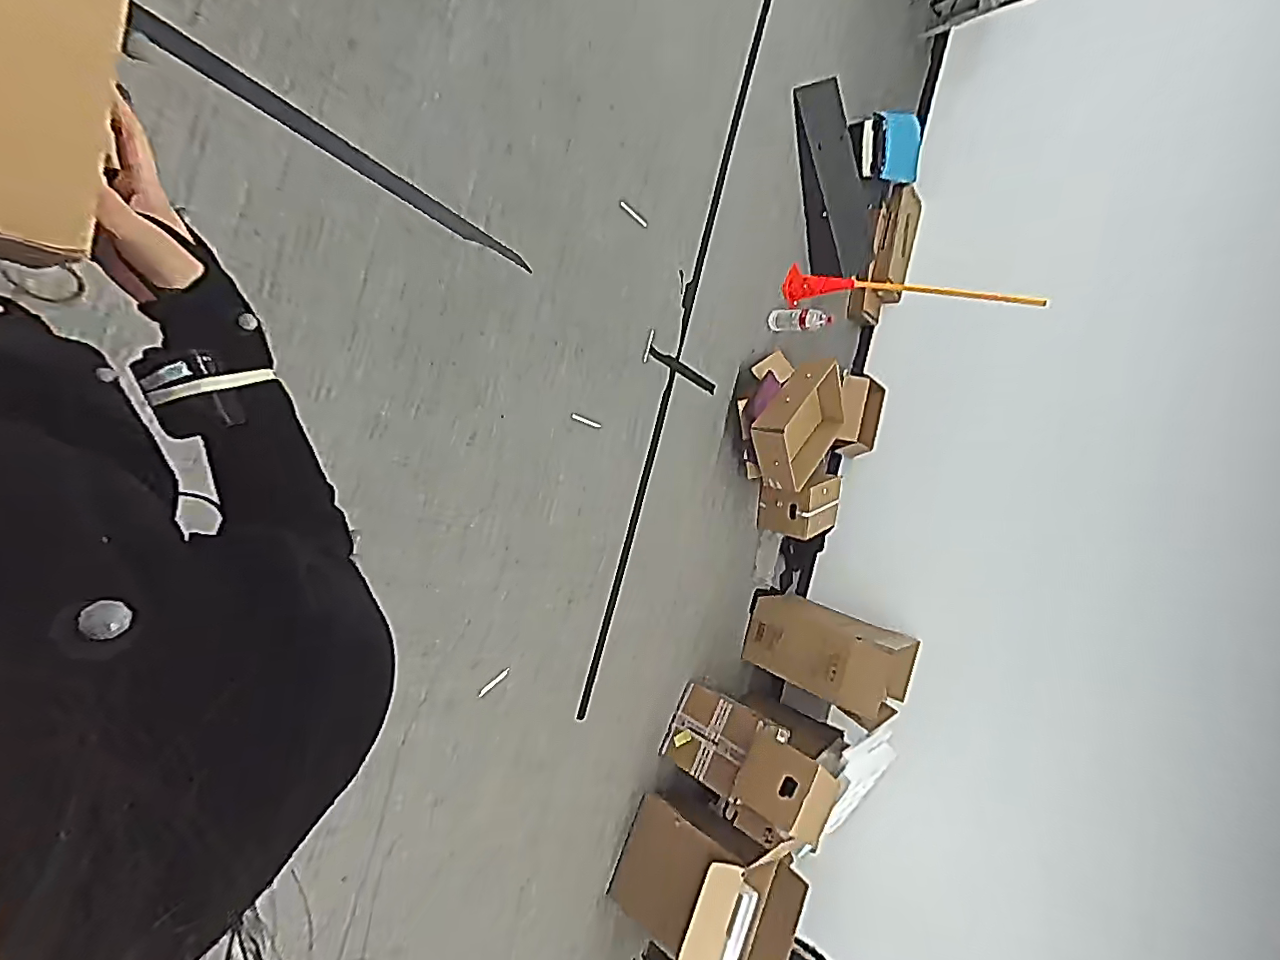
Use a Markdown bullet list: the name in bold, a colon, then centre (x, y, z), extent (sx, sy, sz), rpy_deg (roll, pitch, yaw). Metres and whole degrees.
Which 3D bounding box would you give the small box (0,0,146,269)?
- **small box**: centre (-0.376, -0.219, 0.260), extent (0.168, 0.176, 0.179), rpy_deg (8, 95, -55)
